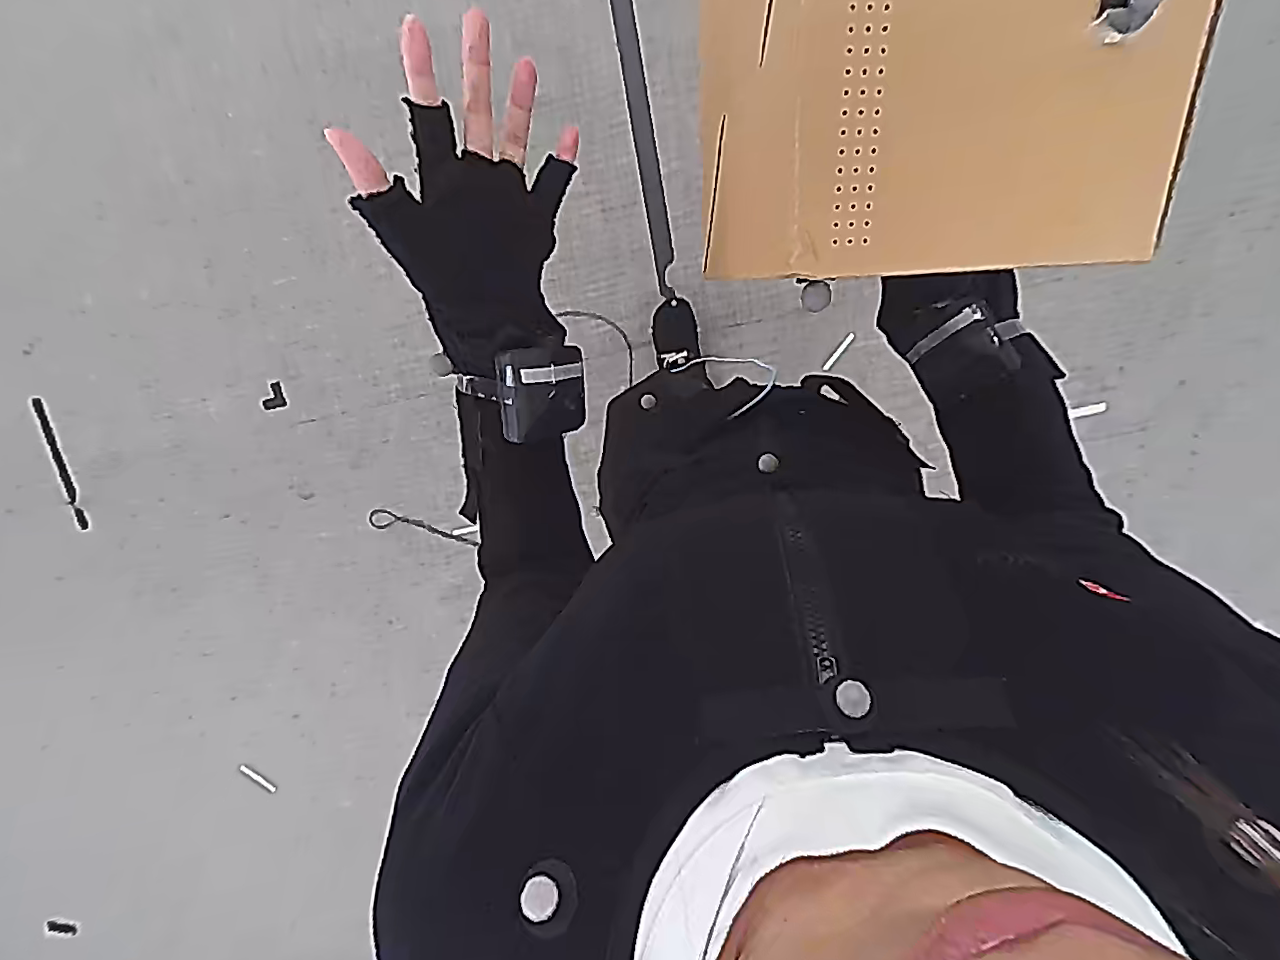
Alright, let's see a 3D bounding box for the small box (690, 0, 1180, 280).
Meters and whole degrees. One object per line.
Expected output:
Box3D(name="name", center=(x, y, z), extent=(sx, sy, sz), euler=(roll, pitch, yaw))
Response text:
Box3D(name="small box", center=(0.122, -0.204, 0.284), extent=(0.176, 0.168, 0.179), euler=(-4, 110, -4))
